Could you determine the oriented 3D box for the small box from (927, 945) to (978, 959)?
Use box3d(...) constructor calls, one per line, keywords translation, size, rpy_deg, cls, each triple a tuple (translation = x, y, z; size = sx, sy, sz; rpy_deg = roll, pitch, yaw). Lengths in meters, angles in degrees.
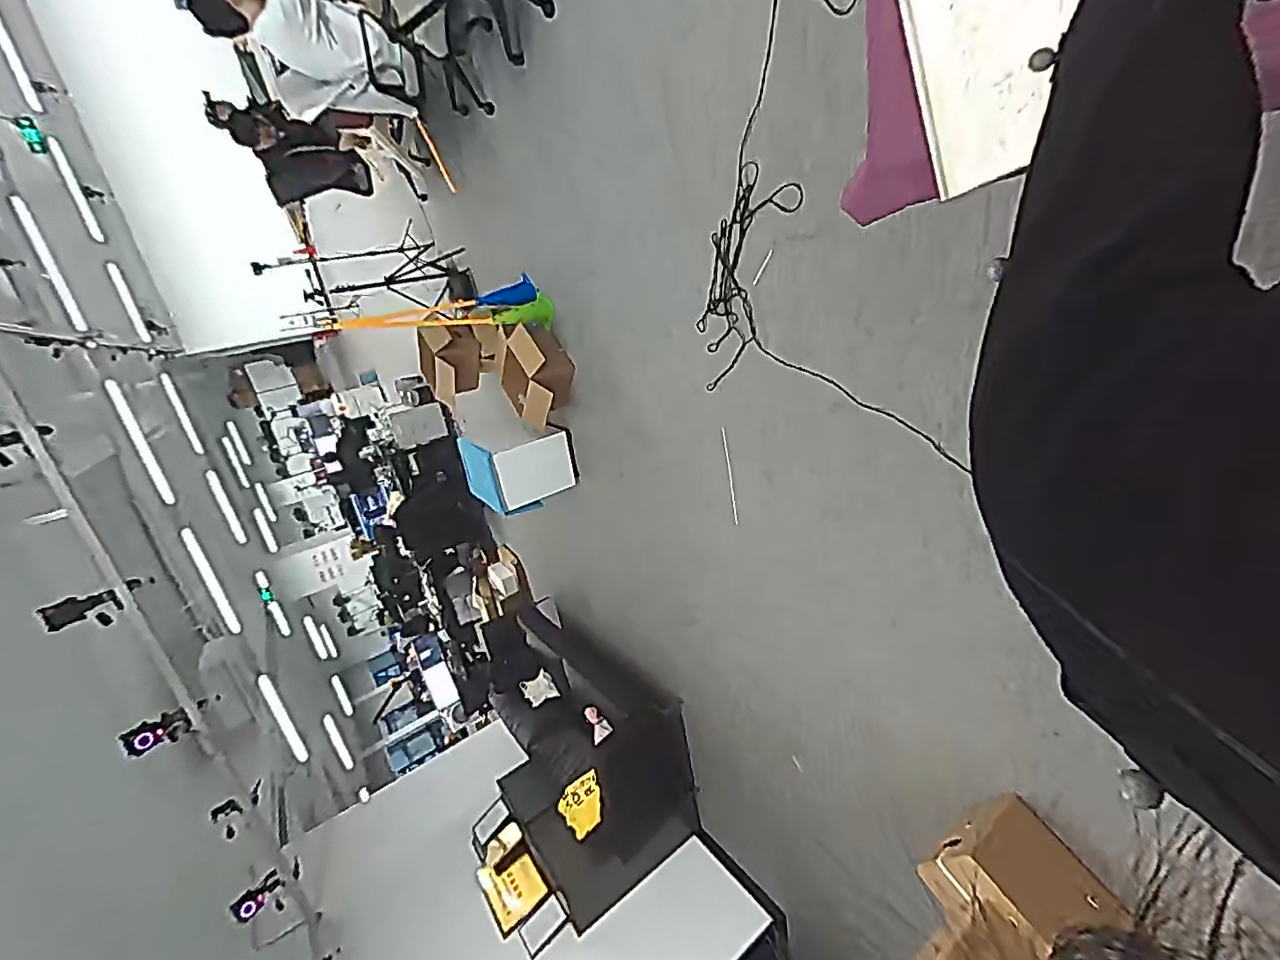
box3d(translation=(0.892, 1.449, 1.502), size=(0.179, 0.176, 0.168), rpy_deg=(50, 146, 31), cls="small box")
